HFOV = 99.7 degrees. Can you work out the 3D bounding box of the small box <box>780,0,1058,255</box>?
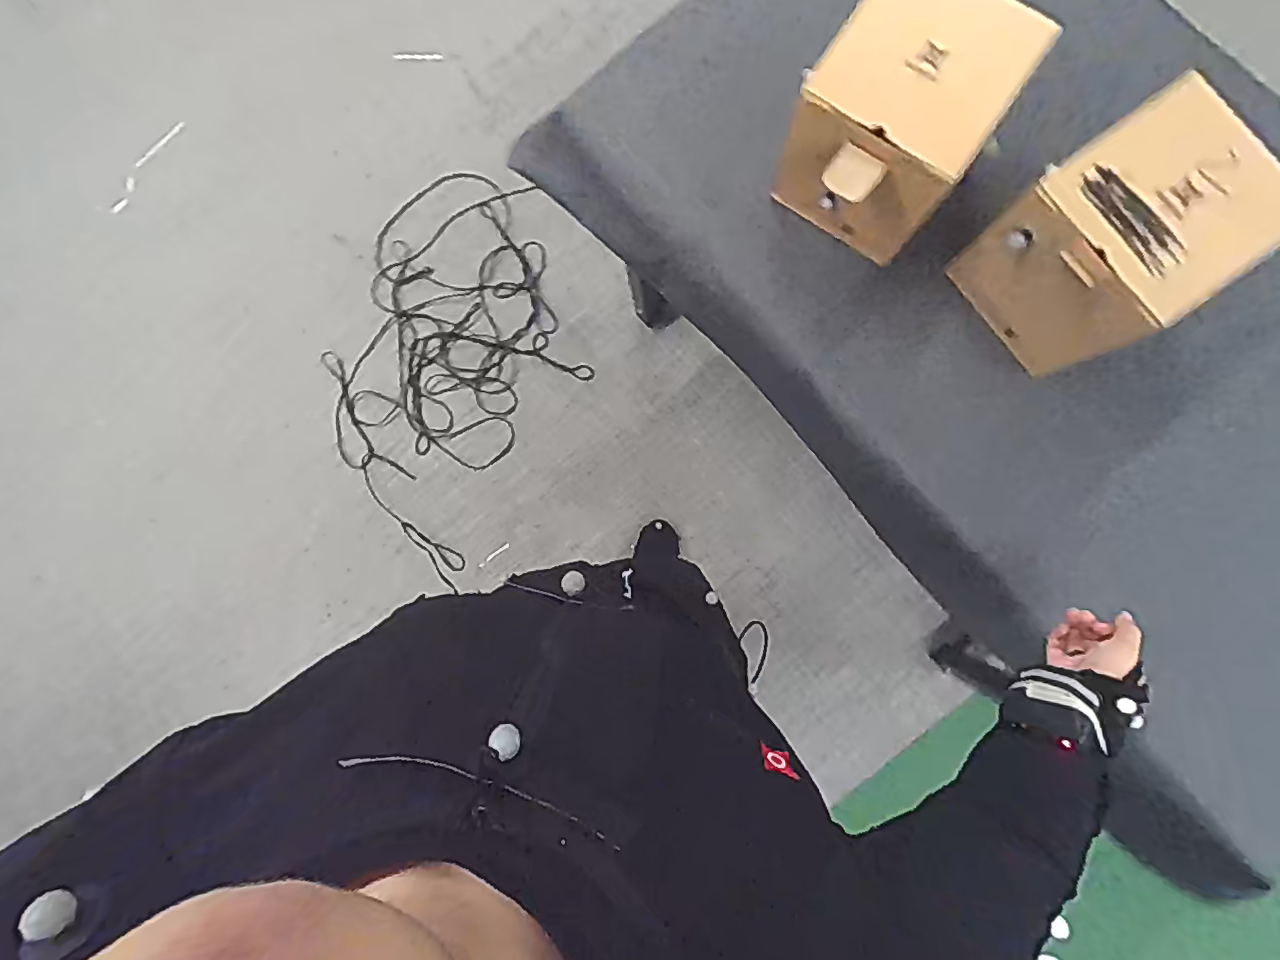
[{"bbox_3d":[0.270,-0.383,0.573,0.168,0.176,0.179,34,89,5],"label":"small box"}]
